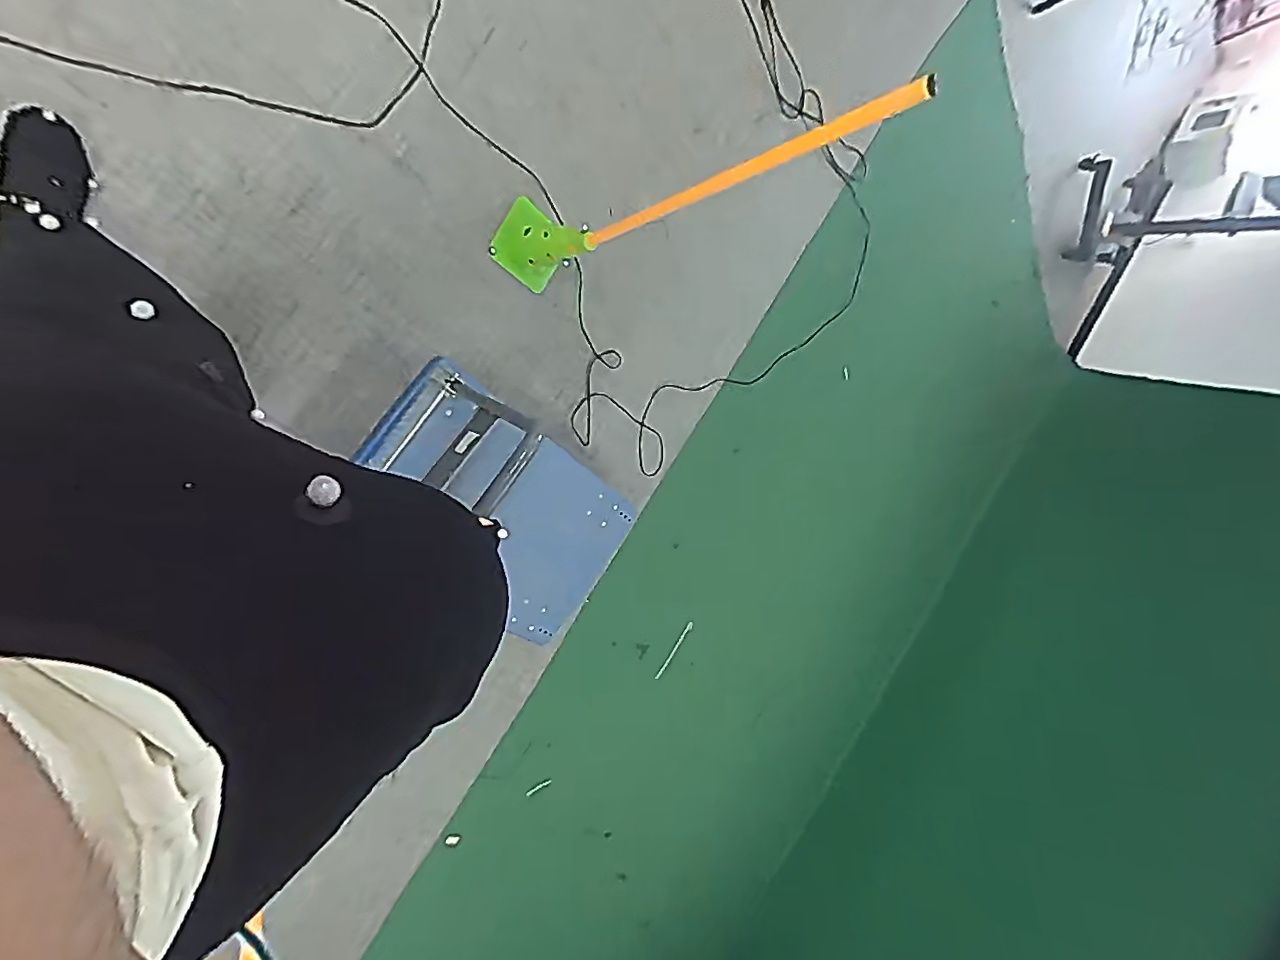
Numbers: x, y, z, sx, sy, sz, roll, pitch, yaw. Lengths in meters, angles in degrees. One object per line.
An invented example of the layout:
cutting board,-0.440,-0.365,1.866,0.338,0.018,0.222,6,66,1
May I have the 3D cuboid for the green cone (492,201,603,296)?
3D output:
green cone,-0.213,-0.627,1.457,0.200,0.368,0.202,31,86,-41
